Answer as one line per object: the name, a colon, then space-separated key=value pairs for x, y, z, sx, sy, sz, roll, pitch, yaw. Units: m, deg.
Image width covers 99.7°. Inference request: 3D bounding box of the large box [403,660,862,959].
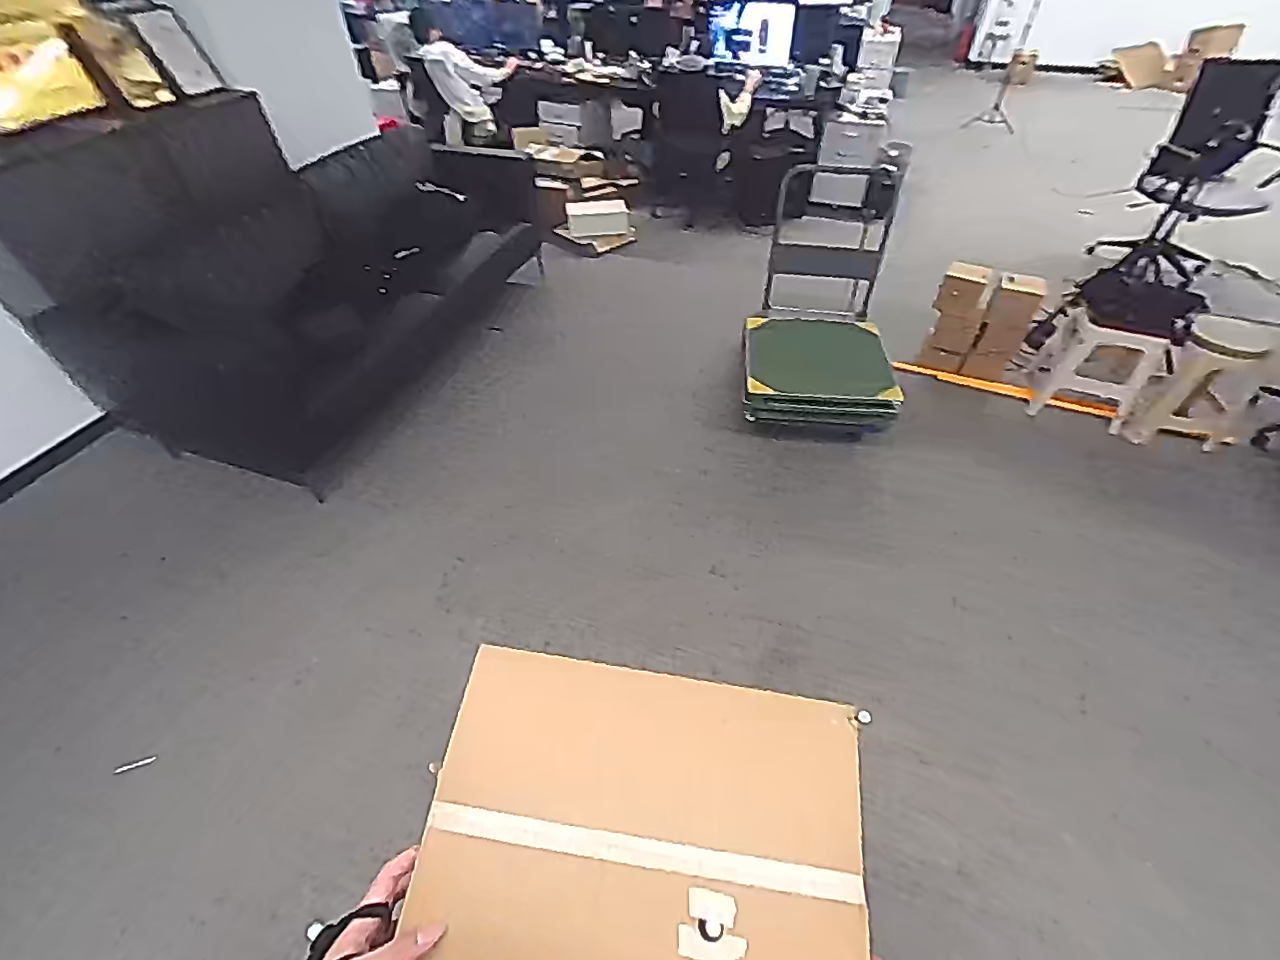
large box: x=-0.001 y=0.426 z=0.633 sx=0.408 sy=0.320 sz=0.320 roll=9 pitch=61 yaw=2
